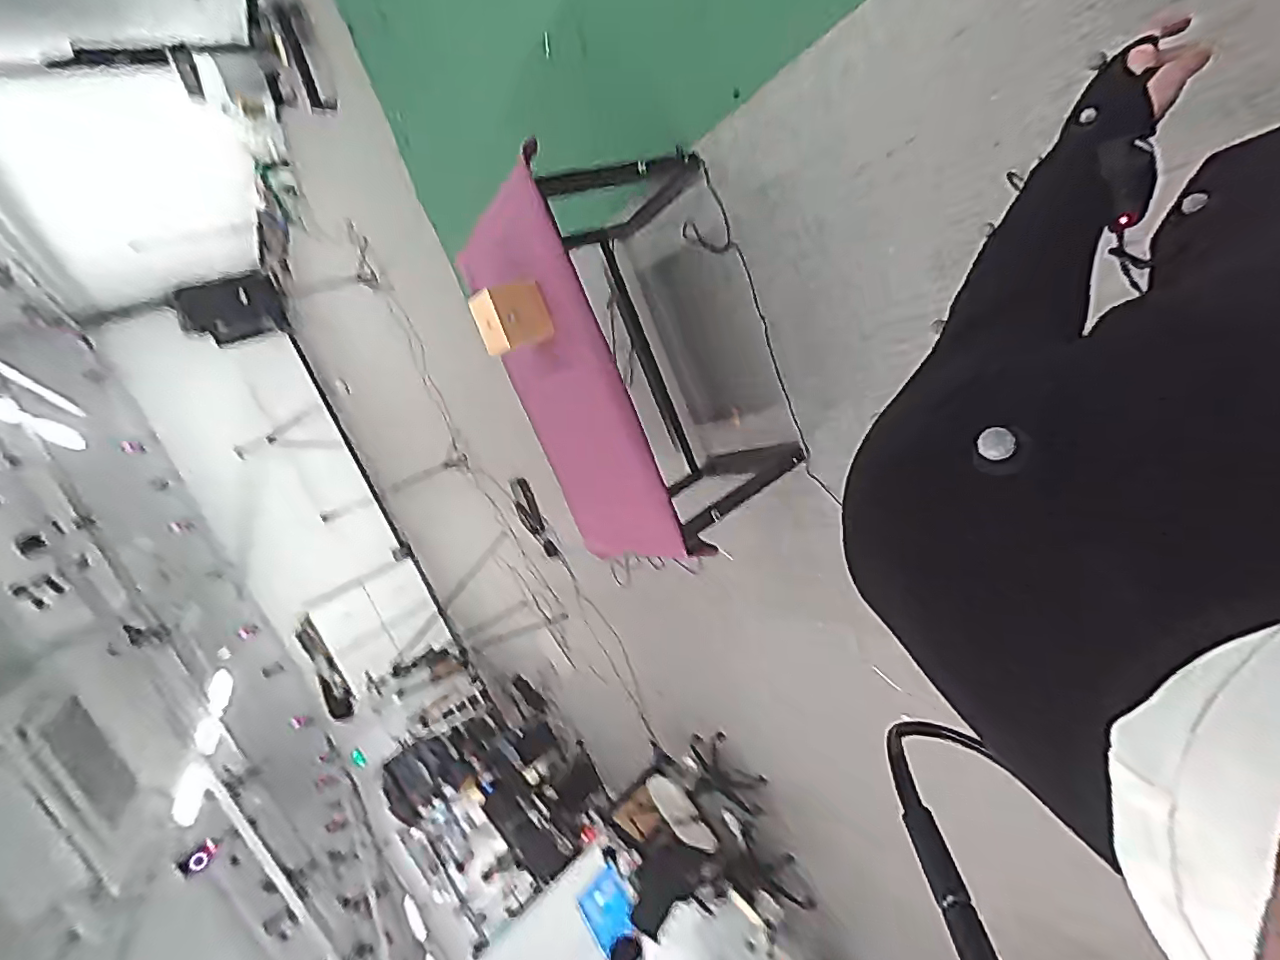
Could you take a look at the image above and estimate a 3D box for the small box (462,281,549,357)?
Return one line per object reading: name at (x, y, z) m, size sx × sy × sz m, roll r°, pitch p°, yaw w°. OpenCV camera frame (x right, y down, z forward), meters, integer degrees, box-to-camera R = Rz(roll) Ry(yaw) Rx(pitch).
small box at (-0.410, -0.498, 1.663) m, size 0.168 × 0.176 × 0.179 m, roll 1°, pitch 116°, yaw 52°
